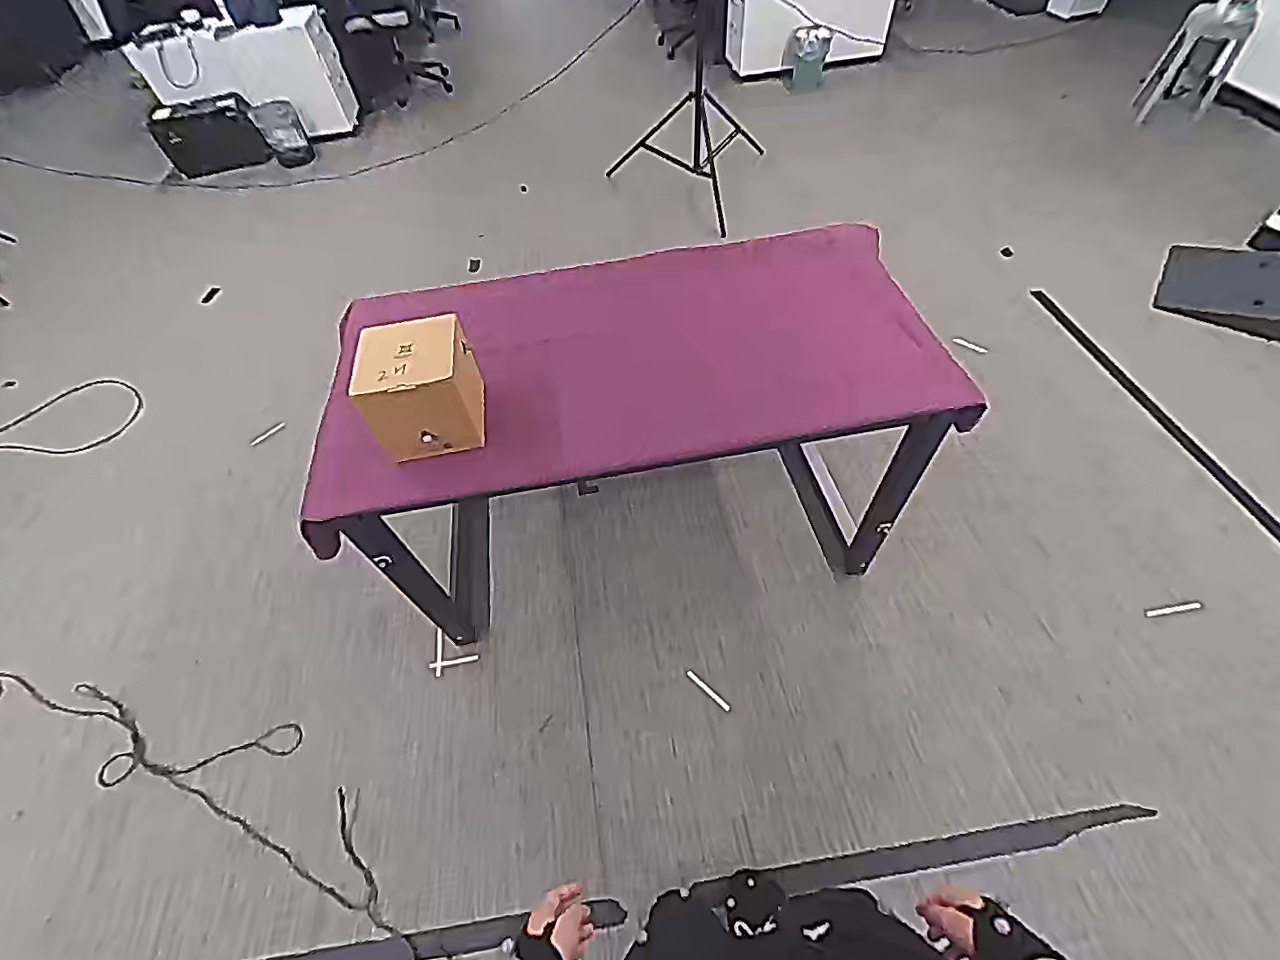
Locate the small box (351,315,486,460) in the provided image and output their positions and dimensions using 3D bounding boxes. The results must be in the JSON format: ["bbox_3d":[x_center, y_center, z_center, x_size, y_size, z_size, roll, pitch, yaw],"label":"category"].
[{"bbox_3d":[-0.380,-0.162,0.960,0.168,0.176,0.179,-11,53,-3],"label":"small box"}]
